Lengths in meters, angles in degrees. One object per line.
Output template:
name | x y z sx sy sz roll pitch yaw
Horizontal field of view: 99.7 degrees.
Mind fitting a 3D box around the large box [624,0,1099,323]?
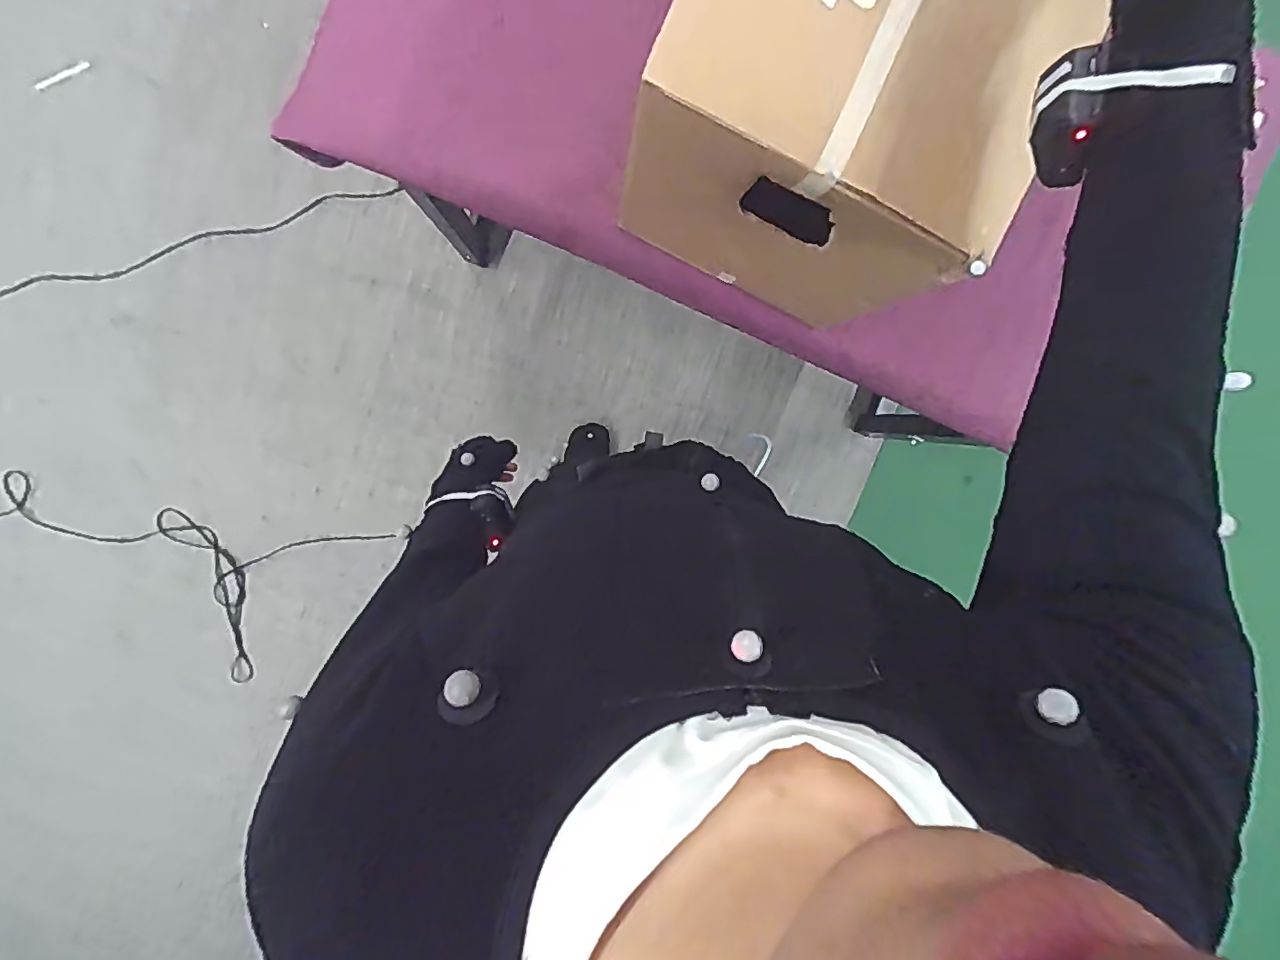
large box | 0.207 -0.436 0.571 0.320 0.320 0.408 24 94 -7
